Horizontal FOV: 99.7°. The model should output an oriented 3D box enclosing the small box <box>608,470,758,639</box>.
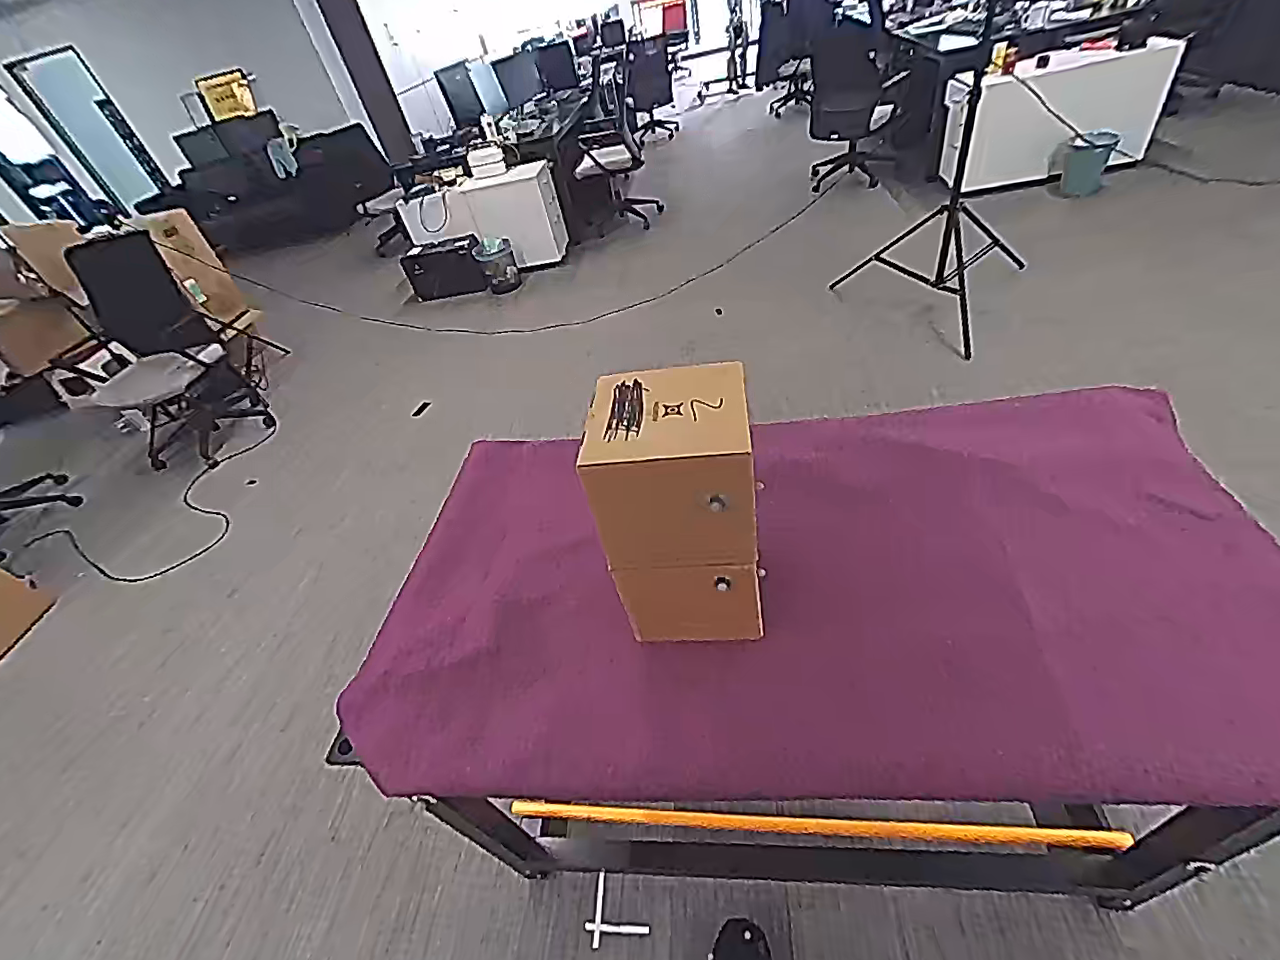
[{"bbox_3d":[0.067,0.106,0.748,0.179,0.176,0.168,-4,42,10],"label":"small box"}]
